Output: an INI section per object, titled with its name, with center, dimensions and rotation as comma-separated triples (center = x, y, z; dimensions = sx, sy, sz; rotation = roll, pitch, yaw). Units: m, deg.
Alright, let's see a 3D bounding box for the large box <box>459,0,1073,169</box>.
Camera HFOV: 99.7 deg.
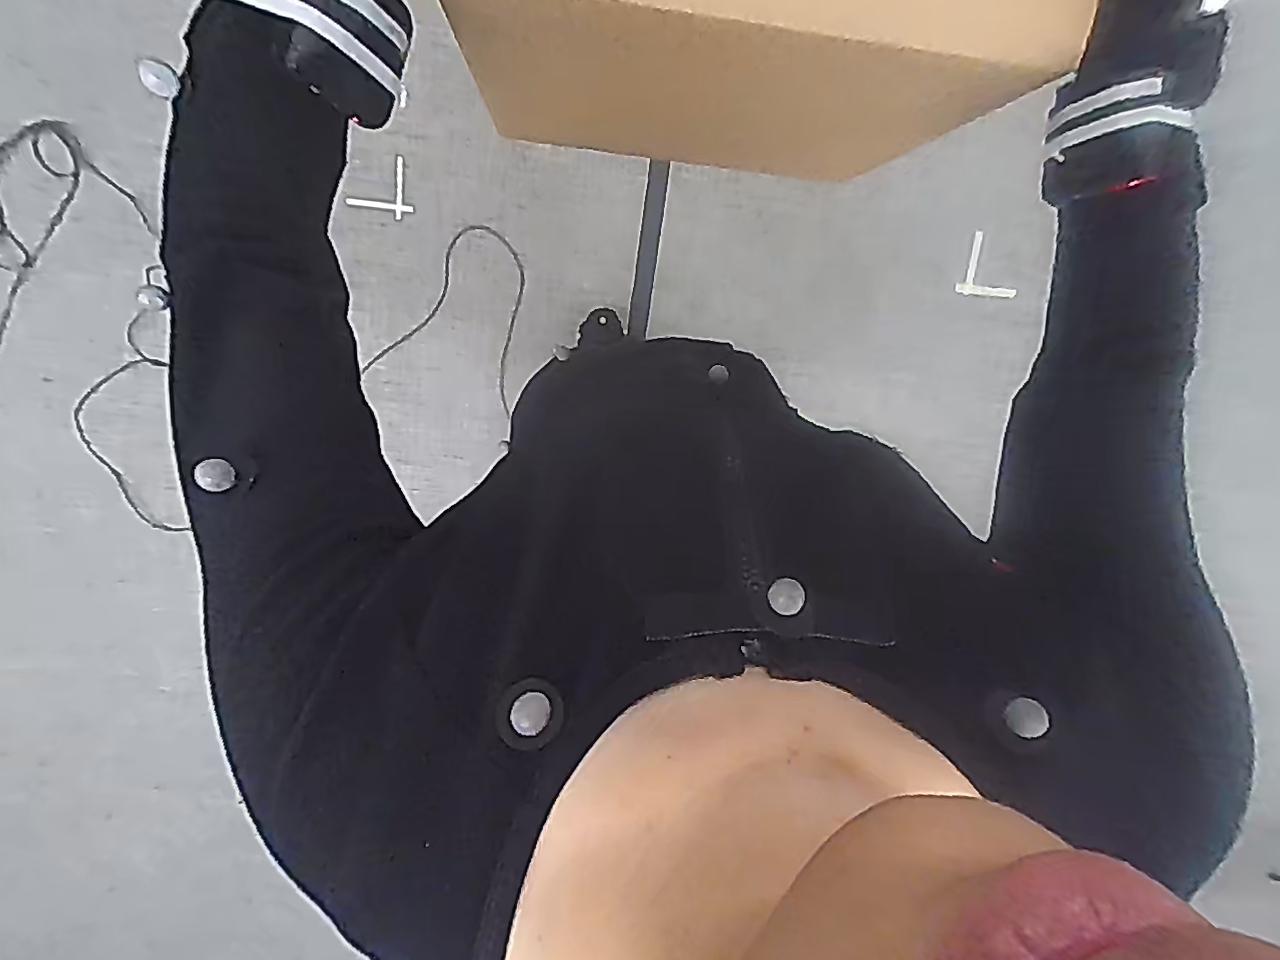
[large box]
center = 0.073, -0.473, 0.431
dimensions = 0.408, 0.320, 0.320
rotation = 2, 107, -8
